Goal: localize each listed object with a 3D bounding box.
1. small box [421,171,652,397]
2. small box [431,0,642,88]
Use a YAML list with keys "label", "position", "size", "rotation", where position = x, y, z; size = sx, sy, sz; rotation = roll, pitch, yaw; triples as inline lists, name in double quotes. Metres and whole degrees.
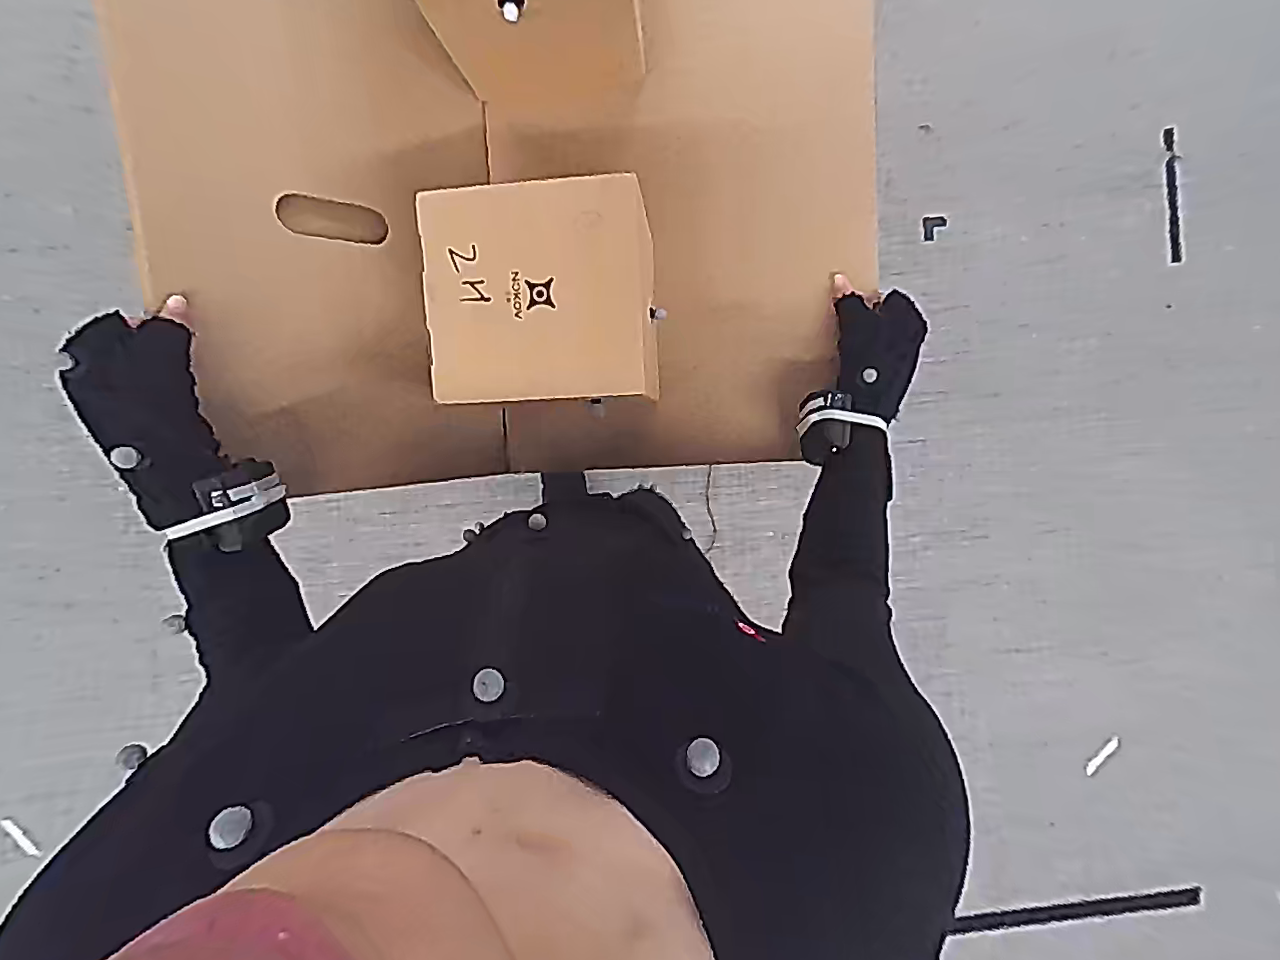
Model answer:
- label: "small box"
  position: [-0.079, -0.166, 0.510]
  size: [0.179, 0.176, 0.168]
  rotation: [-1, 96, 6]
- label: "small box"
  position: [-0.097, -0.482, 0.474]
  size: [0.179, 0.176, 0.168]
  rotation: [-3, 97, 6]
